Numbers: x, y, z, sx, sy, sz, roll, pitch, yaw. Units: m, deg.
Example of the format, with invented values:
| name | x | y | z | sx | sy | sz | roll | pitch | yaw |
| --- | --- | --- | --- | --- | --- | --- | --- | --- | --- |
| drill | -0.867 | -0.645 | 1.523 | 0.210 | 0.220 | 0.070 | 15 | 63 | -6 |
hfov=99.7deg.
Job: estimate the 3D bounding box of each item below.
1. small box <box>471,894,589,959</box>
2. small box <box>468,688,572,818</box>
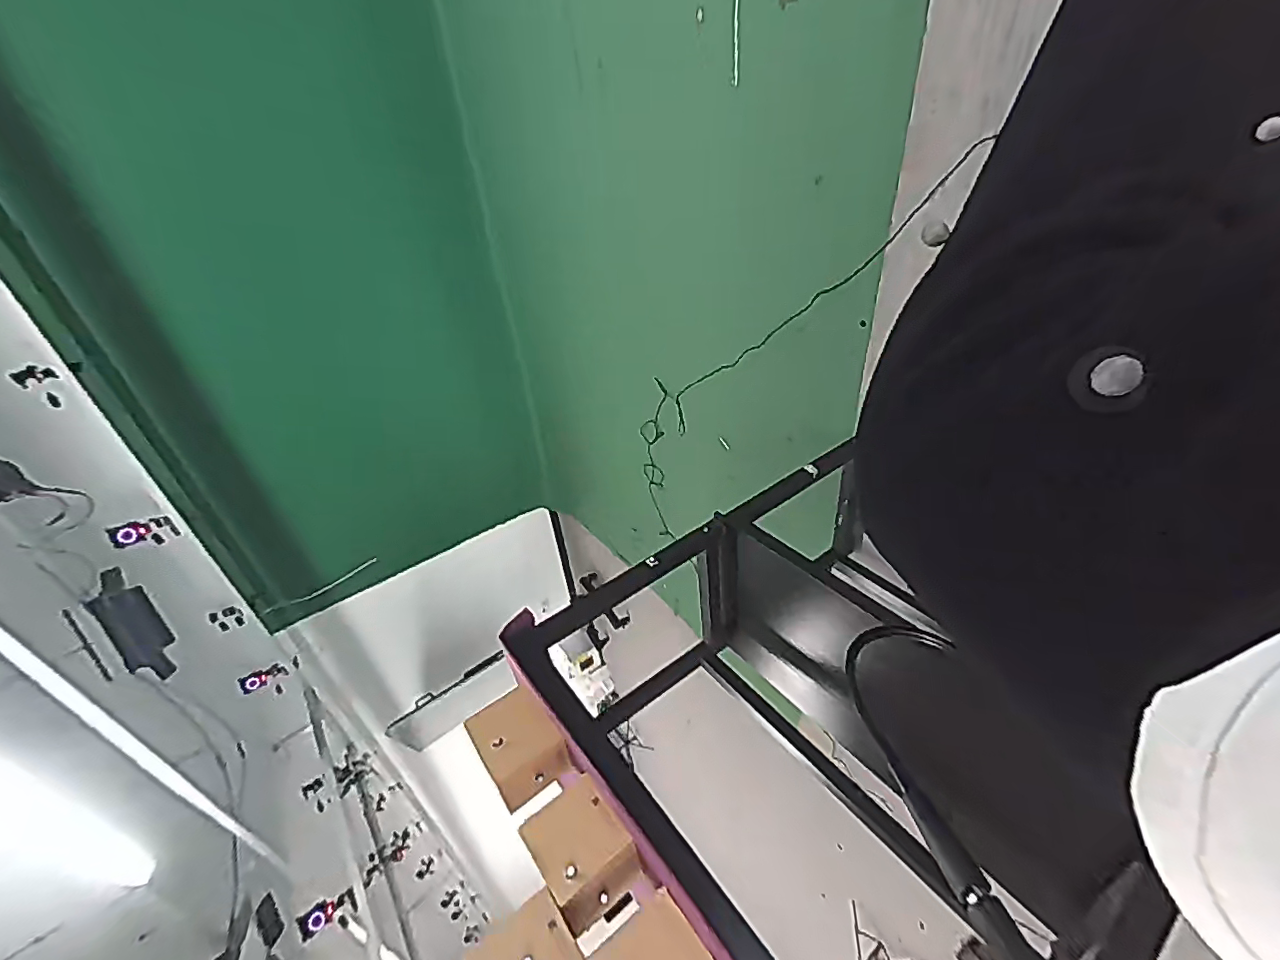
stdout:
| name | x | y | z | sx | sy | sz | roll | pitch | yaw |
| --- | --- | --- | --- | --- | --- | --- | --- | --- | --- |
| small box | -0.164 | 0.855 | 0.908 | 0.168 | 0.176 | 0.179 | 33 | 141 | 46 |
| small box | -0.268 | 0.624 | 1.252 | 0.179 | 0.176 | 0.168 | 38 | 143 | 40 |
